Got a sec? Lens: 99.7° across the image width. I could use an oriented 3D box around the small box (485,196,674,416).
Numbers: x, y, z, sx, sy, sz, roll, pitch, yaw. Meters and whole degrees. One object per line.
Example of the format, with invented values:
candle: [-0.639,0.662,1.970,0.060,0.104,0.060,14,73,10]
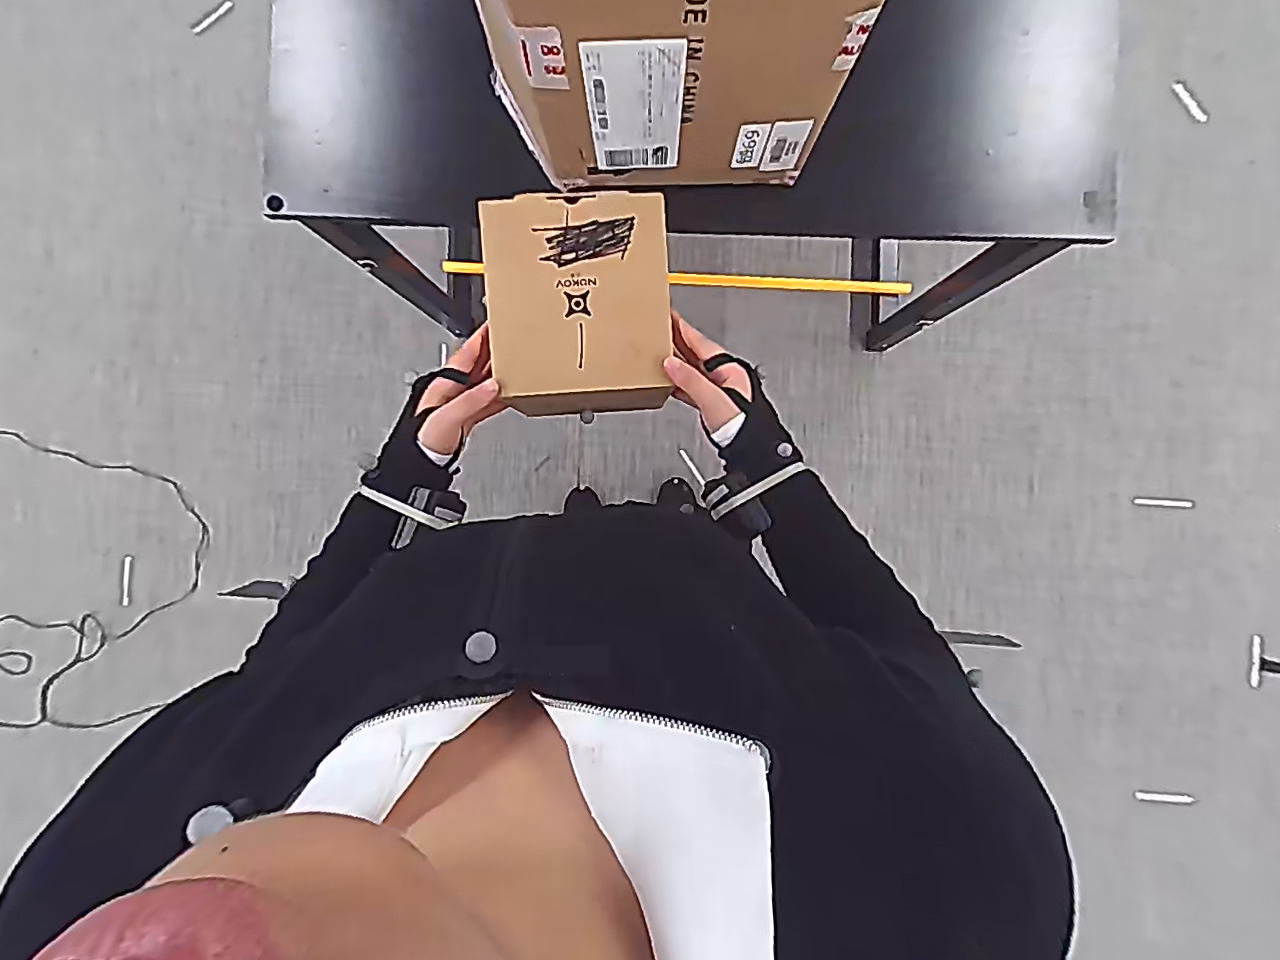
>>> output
small box: [-0.058,-0.167,0.565,0.168,0.176,0.179,-4,91,-1]
